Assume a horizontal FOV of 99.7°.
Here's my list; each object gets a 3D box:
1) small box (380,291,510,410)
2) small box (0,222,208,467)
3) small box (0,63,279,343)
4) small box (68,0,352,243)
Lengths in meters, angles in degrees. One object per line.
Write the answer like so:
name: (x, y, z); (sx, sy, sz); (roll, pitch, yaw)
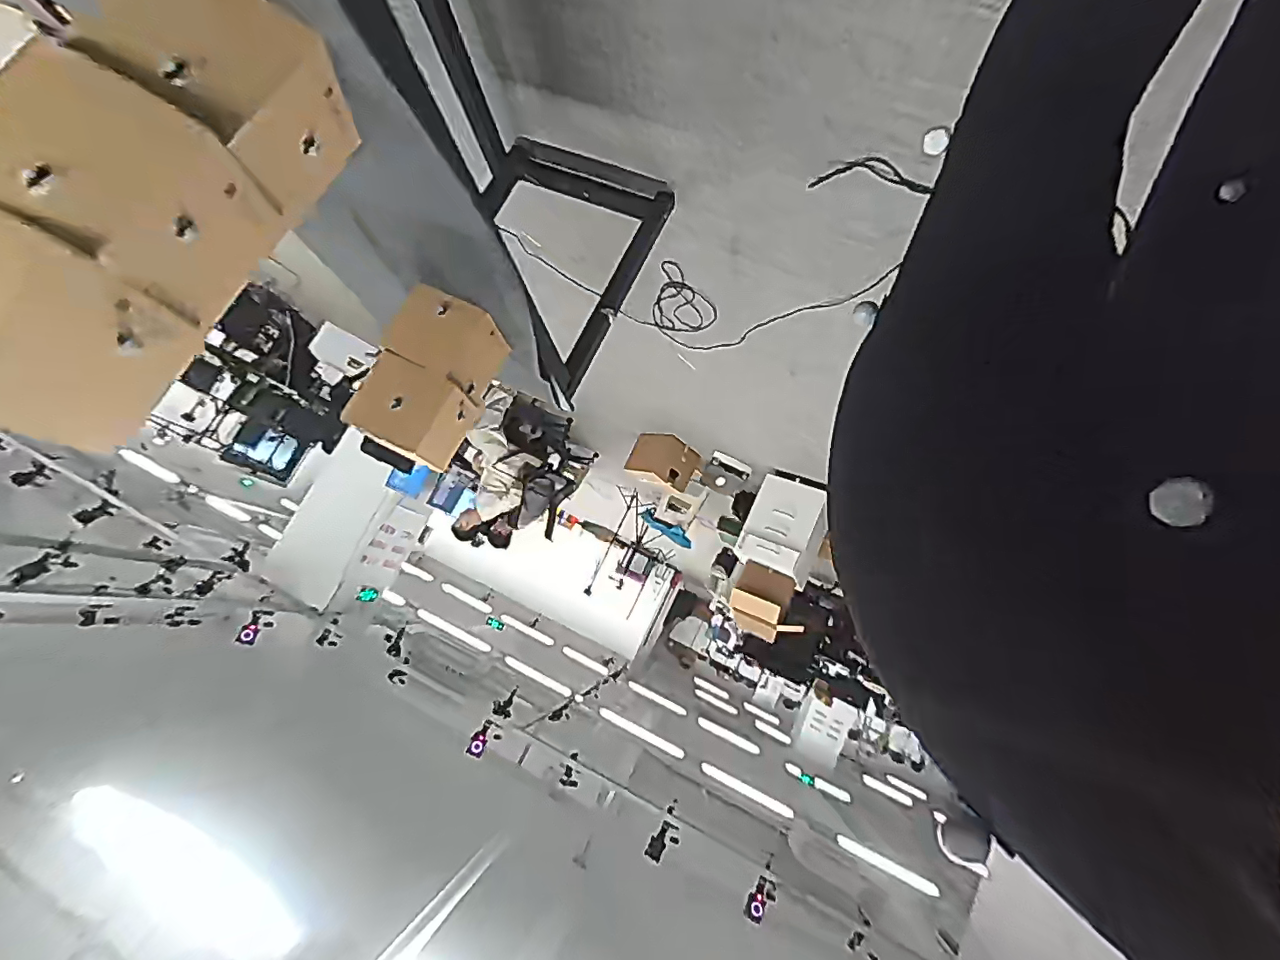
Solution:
small box: (-0.420, -0.286, 1.190); (0.179, 0.176, 0.168); (25, 169, 11)
small box: (-0.598, -0.139, 0.536); (0.179, 0.176, 0.168); (26, 169, 2)
small box: (-0.530, -0.284, 0.576); (0.179, 0.176, 0.168); (29, 168, -4)
small box: (-0.466, -0.425, 0.626); (0.179, 0.176, 0.168); (30, 168, -9)
